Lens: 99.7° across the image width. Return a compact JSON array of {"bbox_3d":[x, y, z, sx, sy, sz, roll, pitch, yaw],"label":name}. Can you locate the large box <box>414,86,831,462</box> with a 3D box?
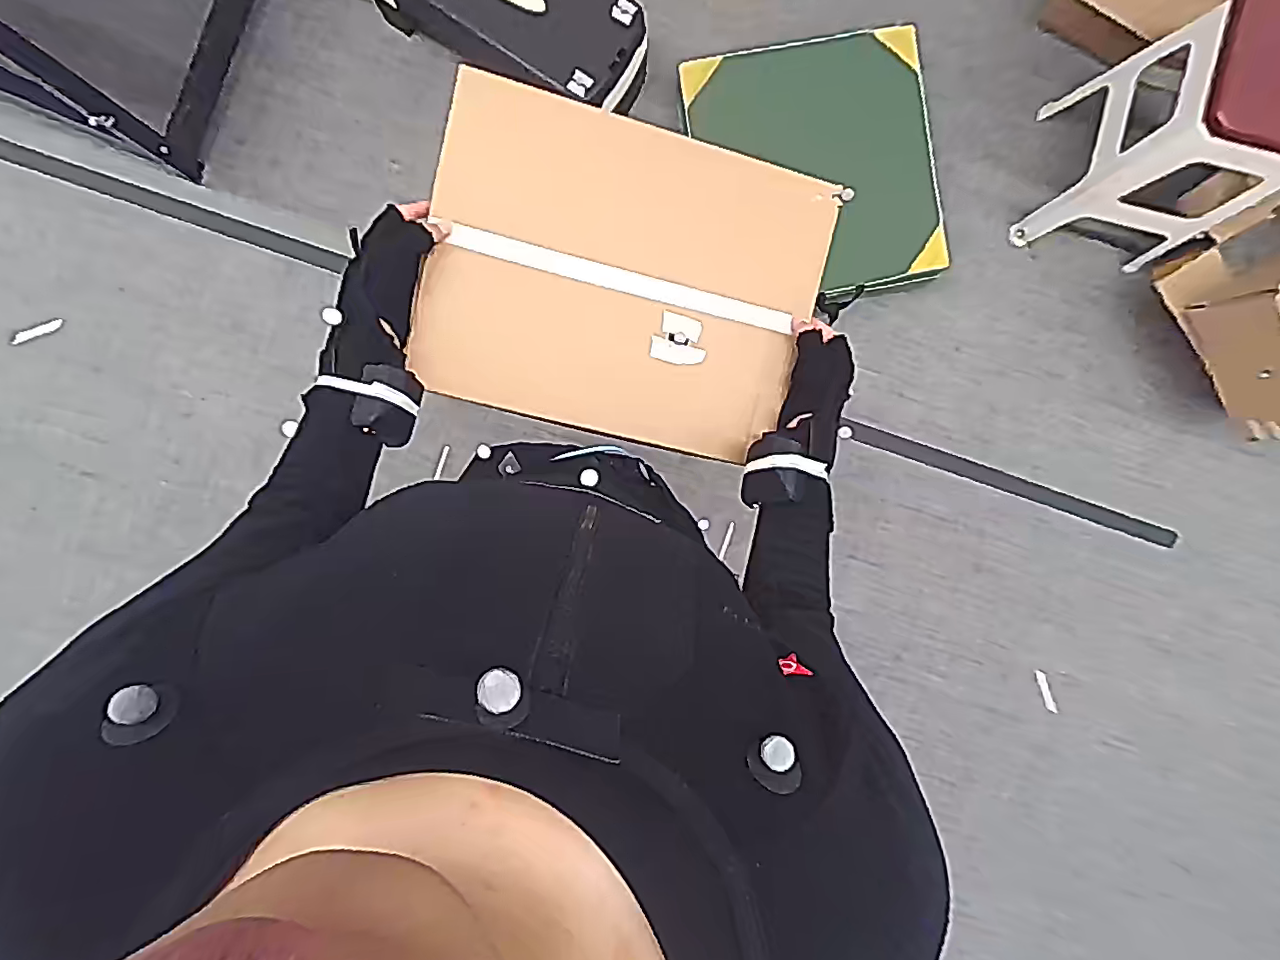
[{"bbox_3d":[-0.033,-0.221,0.723,0.408,0.320,0.320,13,95,-9],"label":"large box"}]
